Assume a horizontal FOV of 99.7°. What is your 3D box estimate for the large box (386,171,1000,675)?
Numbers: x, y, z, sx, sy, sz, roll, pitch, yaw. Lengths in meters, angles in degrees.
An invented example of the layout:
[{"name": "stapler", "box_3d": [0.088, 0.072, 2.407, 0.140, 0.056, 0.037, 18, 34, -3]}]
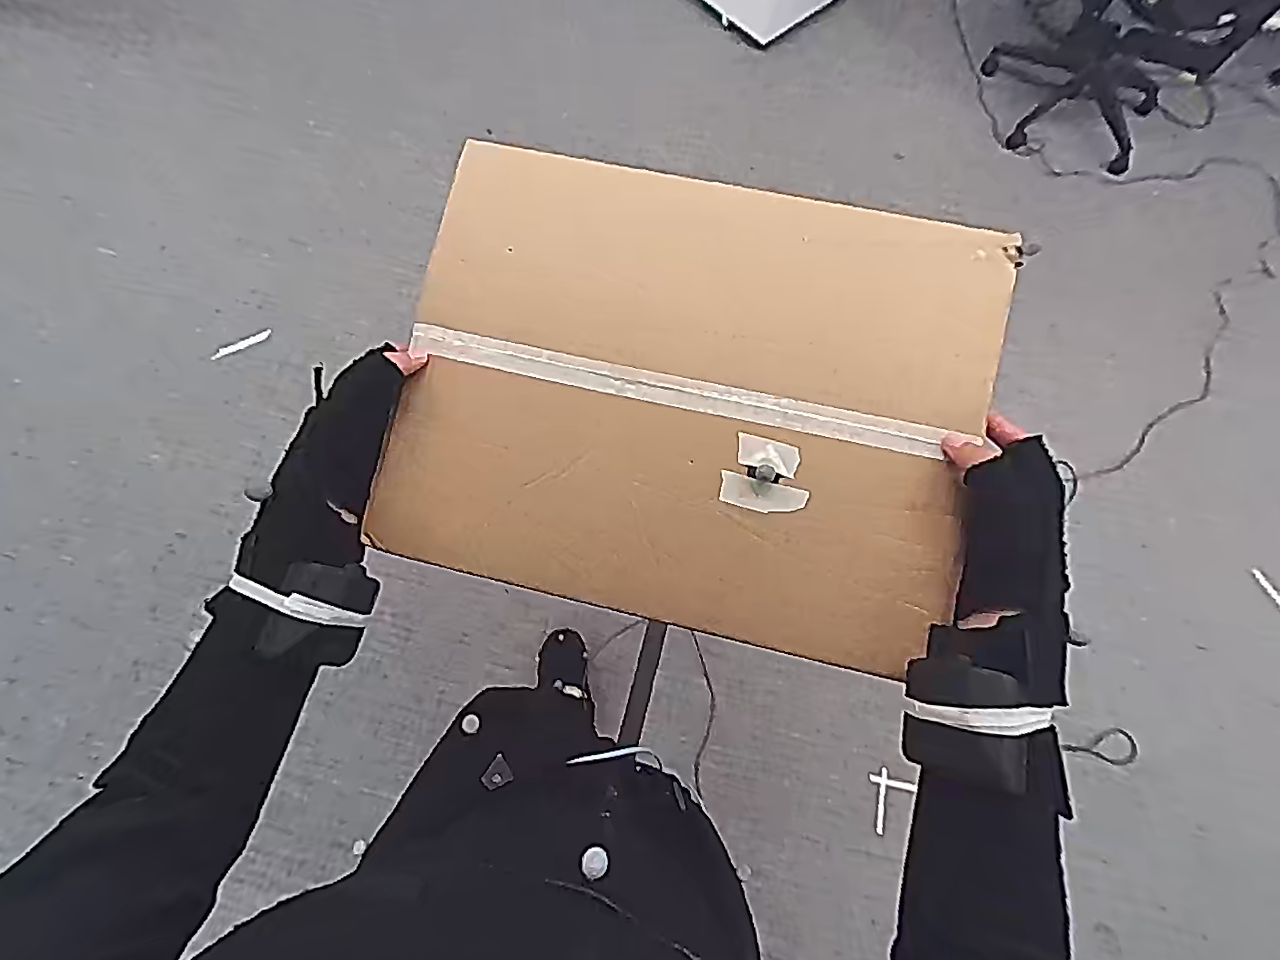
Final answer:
[{"name": "large box", "box_3d": [0.043, -0.040, 0.540, 0.408, 0.320, 0.320, 13, 87, 4]}]
